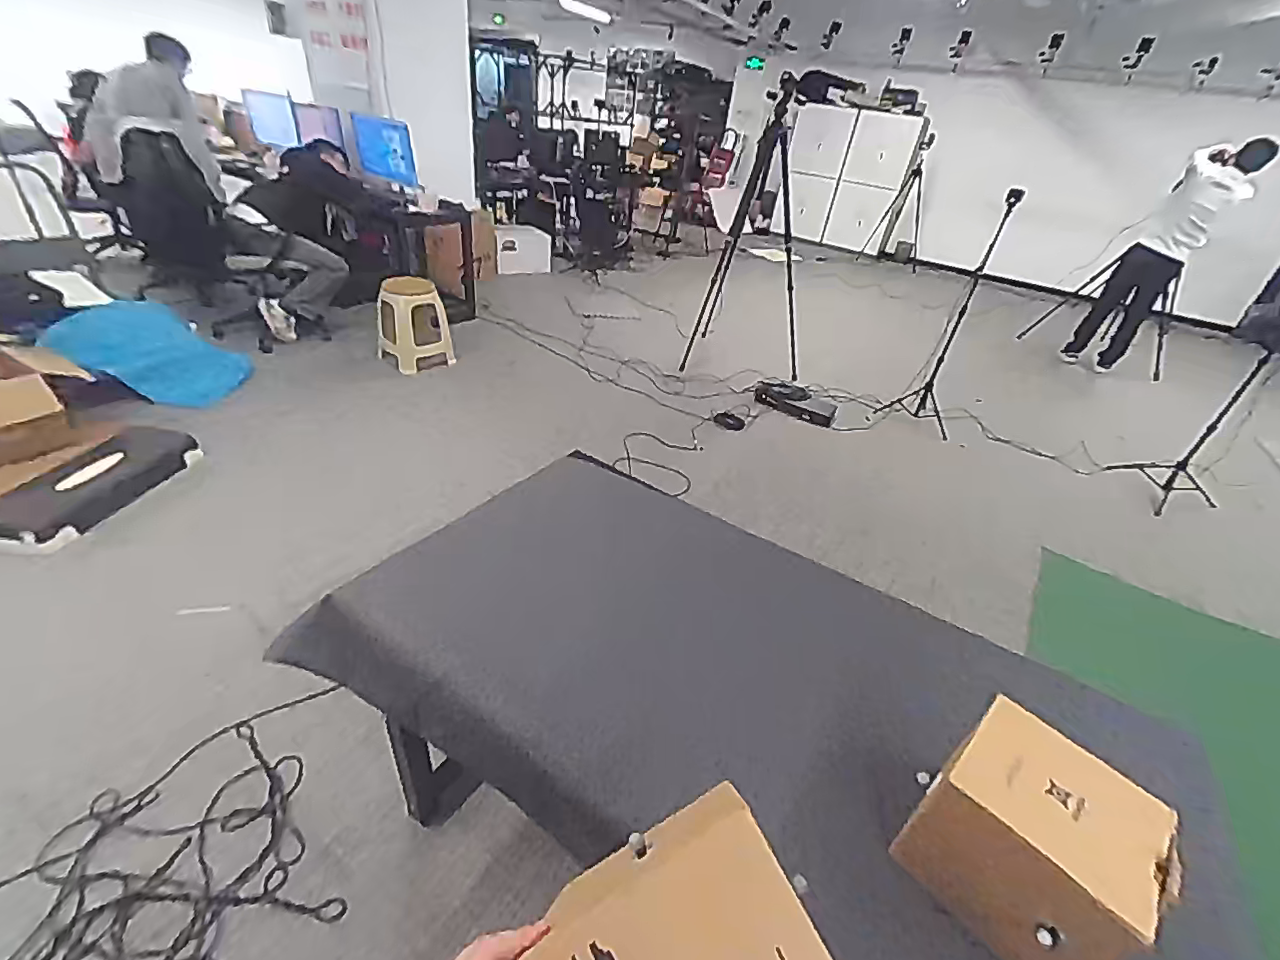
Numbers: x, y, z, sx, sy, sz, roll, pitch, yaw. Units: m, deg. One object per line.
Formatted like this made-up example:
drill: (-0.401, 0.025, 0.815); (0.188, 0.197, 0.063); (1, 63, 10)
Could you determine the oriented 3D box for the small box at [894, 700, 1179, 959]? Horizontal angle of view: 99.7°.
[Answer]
small box: (0.417, 0.390, 0.587); (0.168, 0.176, 0.179); (-21, 42, -38)
